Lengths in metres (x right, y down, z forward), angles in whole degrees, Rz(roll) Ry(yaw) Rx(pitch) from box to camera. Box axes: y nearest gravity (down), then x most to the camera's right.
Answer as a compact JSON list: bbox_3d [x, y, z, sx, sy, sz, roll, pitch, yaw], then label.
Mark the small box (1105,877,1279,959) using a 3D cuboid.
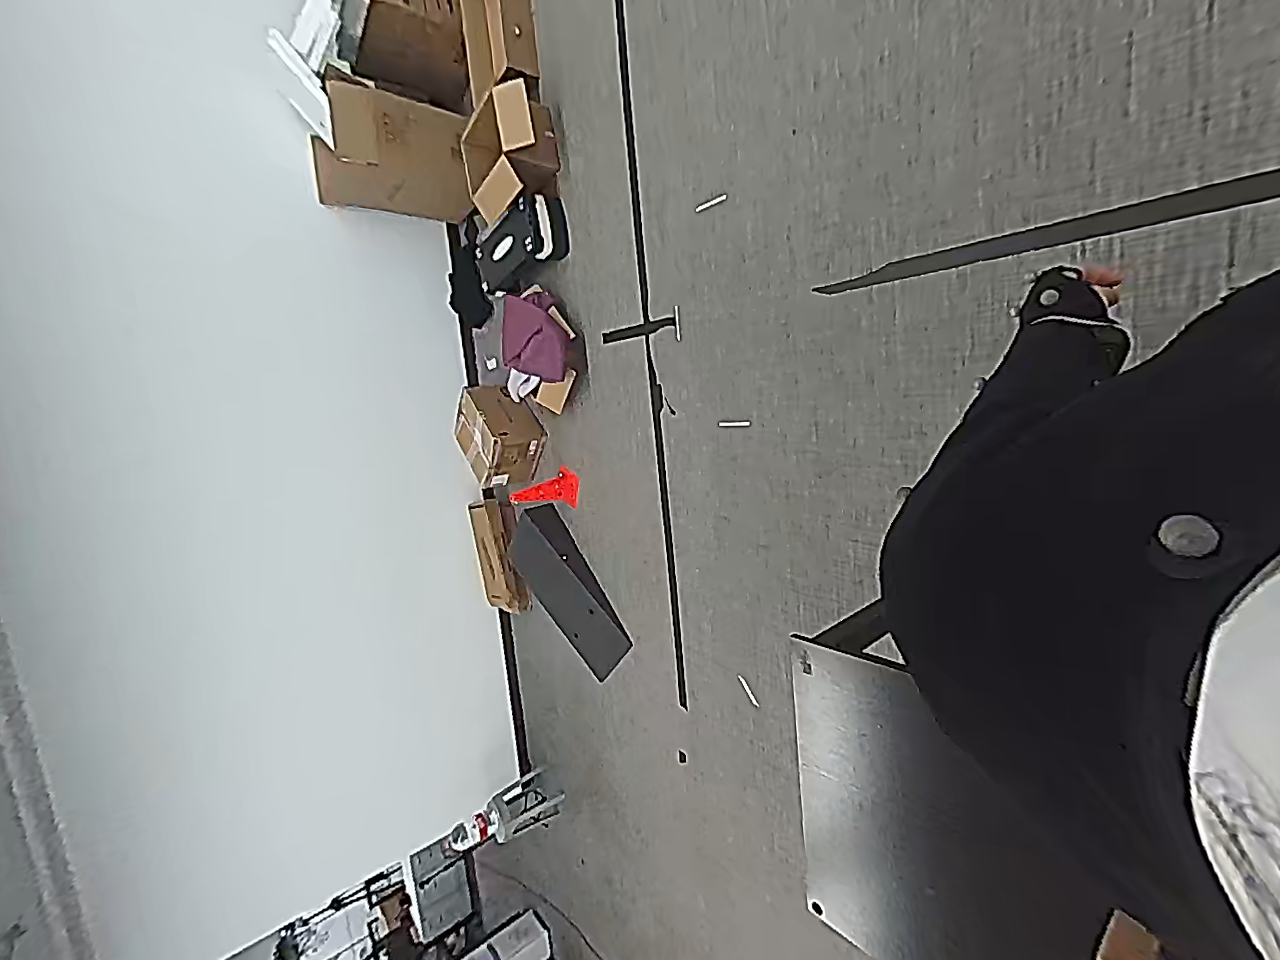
[{"bbox_3d":[0.608,0.578,0.566,0.168,0.176,0.179,2,101,52],"label":"small box"}]
